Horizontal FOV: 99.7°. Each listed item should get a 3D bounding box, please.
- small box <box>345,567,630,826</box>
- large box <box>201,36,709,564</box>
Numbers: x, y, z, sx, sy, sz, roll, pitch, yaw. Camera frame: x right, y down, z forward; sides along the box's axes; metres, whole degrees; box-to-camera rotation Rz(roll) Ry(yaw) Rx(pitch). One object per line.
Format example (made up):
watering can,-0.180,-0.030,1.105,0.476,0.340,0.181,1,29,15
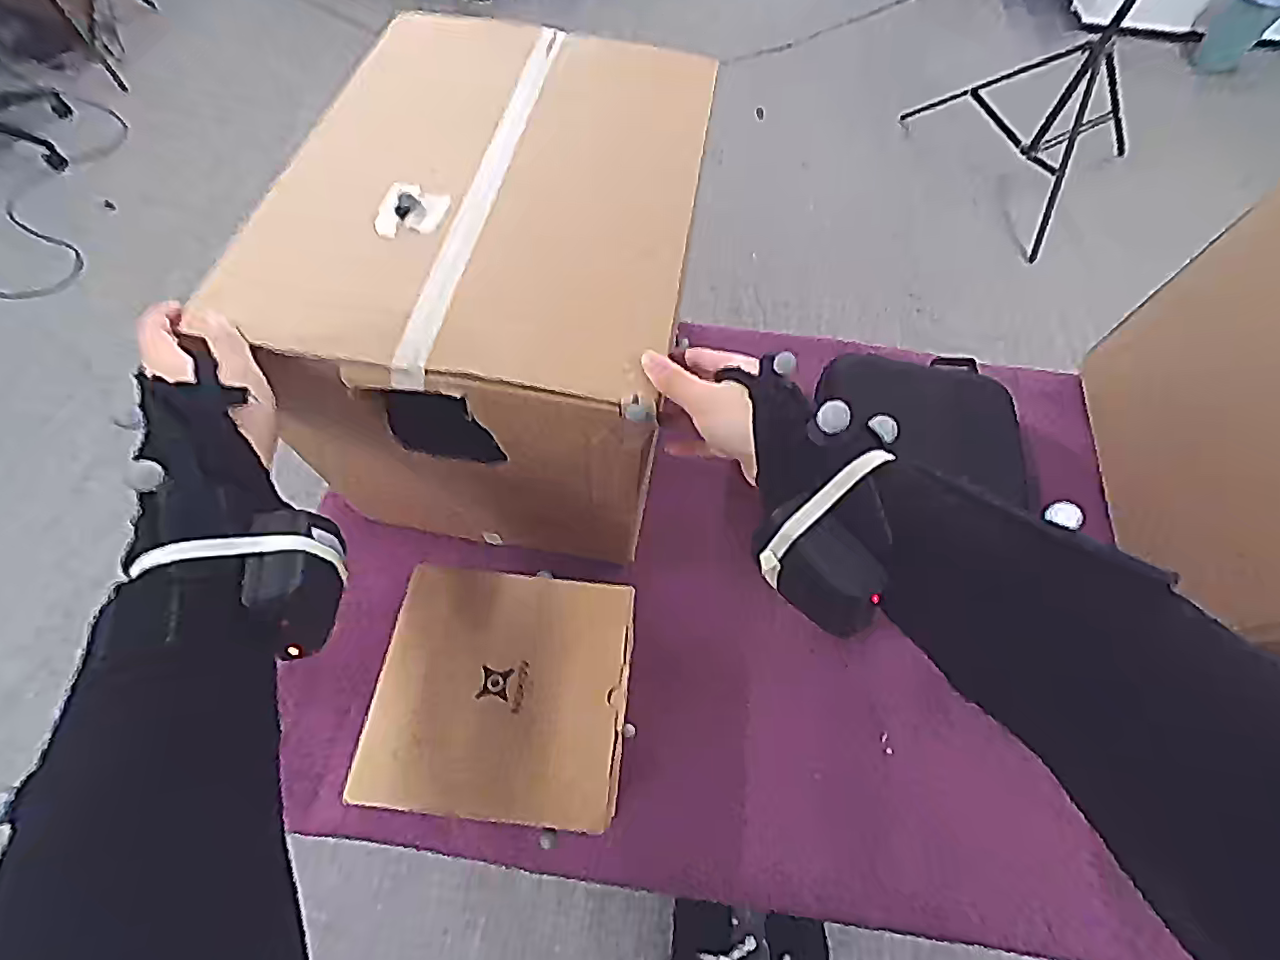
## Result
small box,-0.104,0.187,0.461,0.179,0.176,0.168,6,61,0
large box,-0.119,-0.165,0.568,0.320,0.320,0.408,9,64,2
